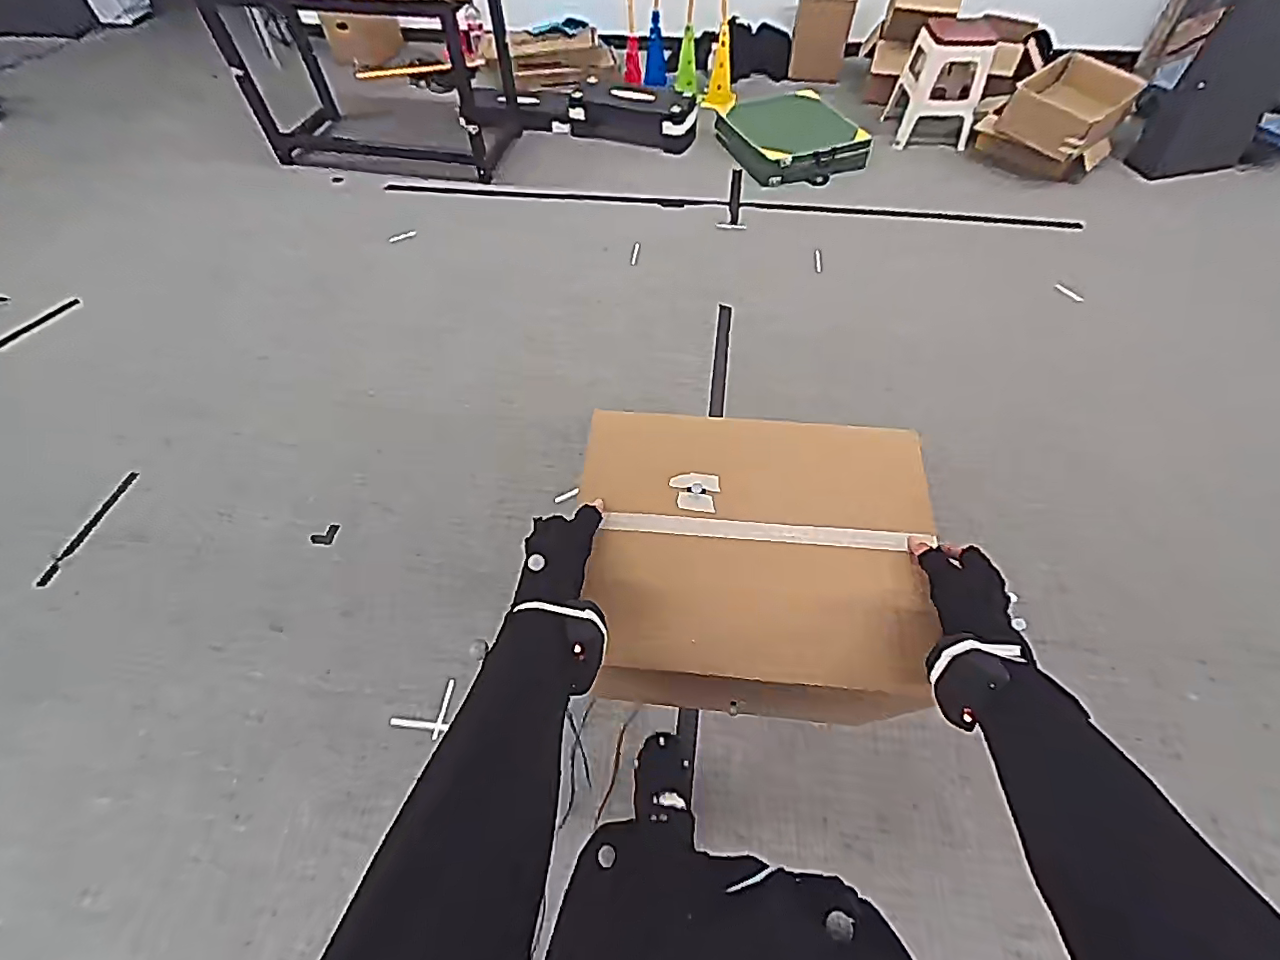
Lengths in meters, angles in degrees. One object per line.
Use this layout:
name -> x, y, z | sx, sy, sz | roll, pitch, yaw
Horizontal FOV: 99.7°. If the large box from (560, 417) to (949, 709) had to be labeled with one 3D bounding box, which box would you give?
large box -> 0.133, 0.130, 0.753 | 0.408, 0.320, 0.320 | 3, 61, 5
